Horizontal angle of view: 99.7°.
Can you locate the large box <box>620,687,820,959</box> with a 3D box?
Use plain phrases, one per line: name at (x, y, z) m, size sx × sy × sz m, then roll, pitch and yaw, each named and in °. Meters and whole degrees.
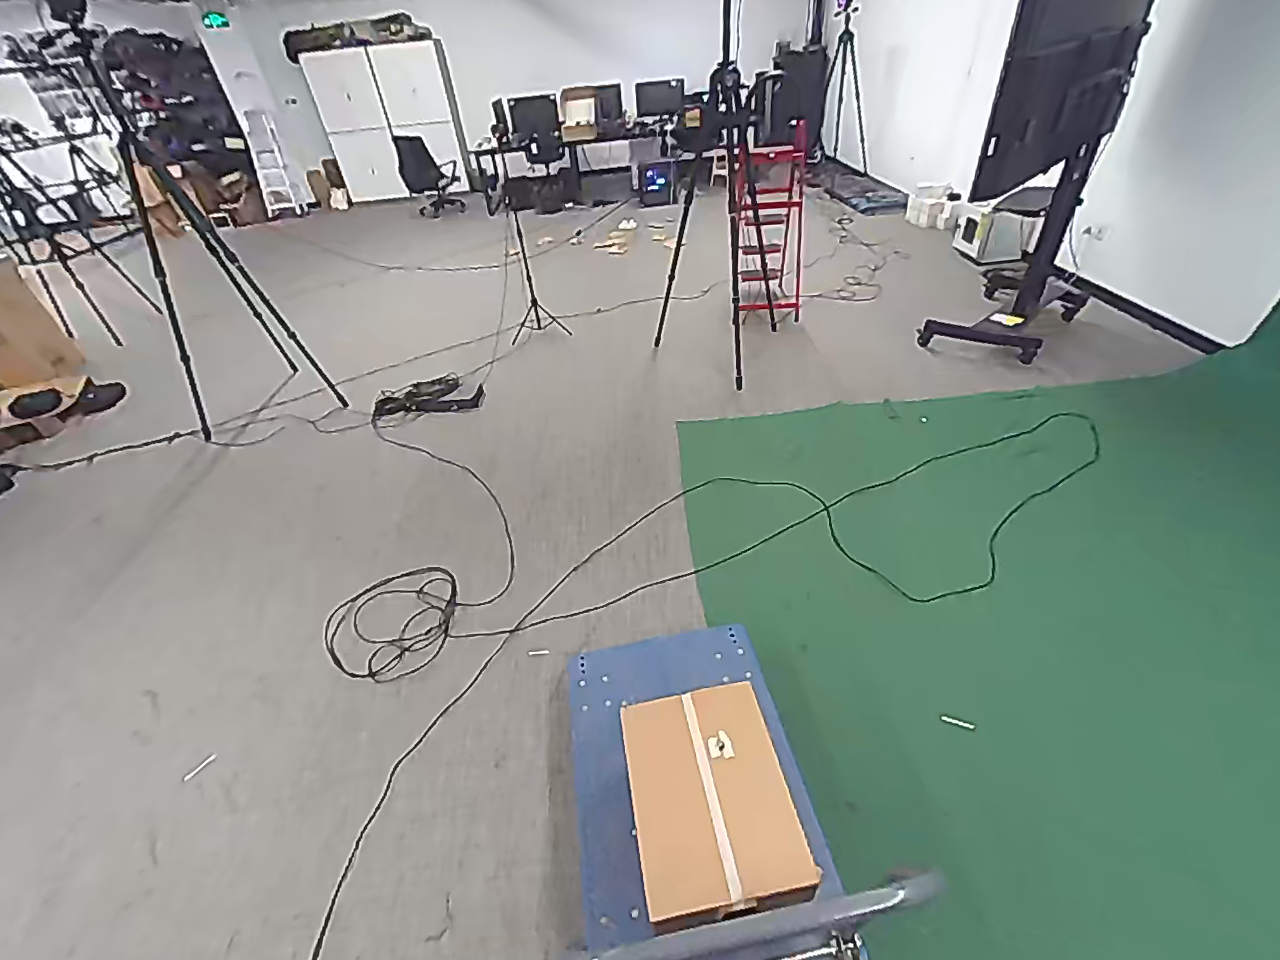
large box at (0.154, 0.745, 1.190) m, size 0.320 × 0.320 × 0.408 m, roll -10°, pitch 38°, yaw -5°
